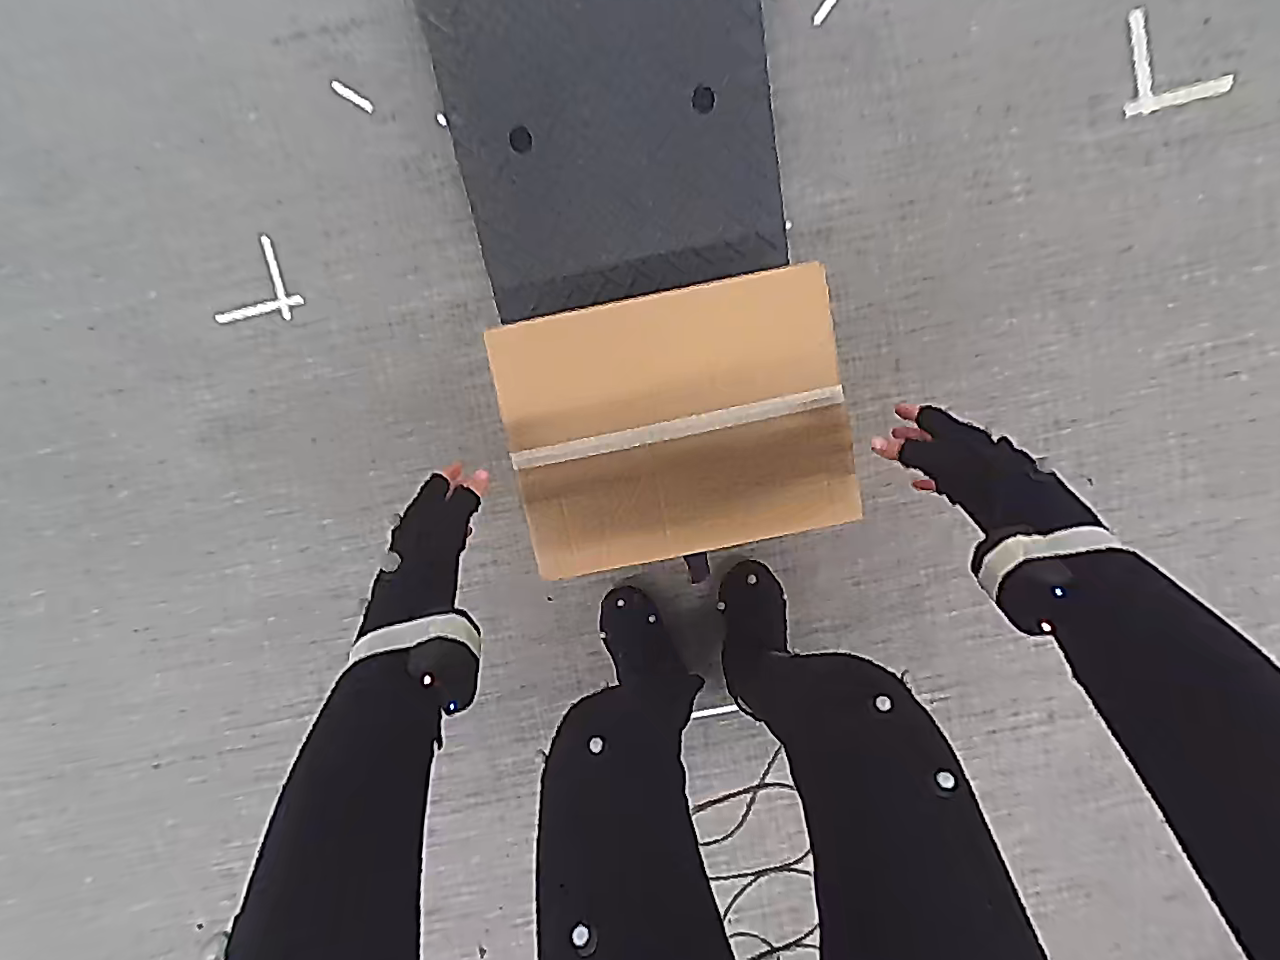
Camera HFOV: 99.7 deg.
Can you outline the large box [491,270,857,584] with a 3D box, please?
[{"bbox_3d":[0.047,-0.077,0.805,0.408,0.320,0.320,-12,96,2],"label":"large box"}]
